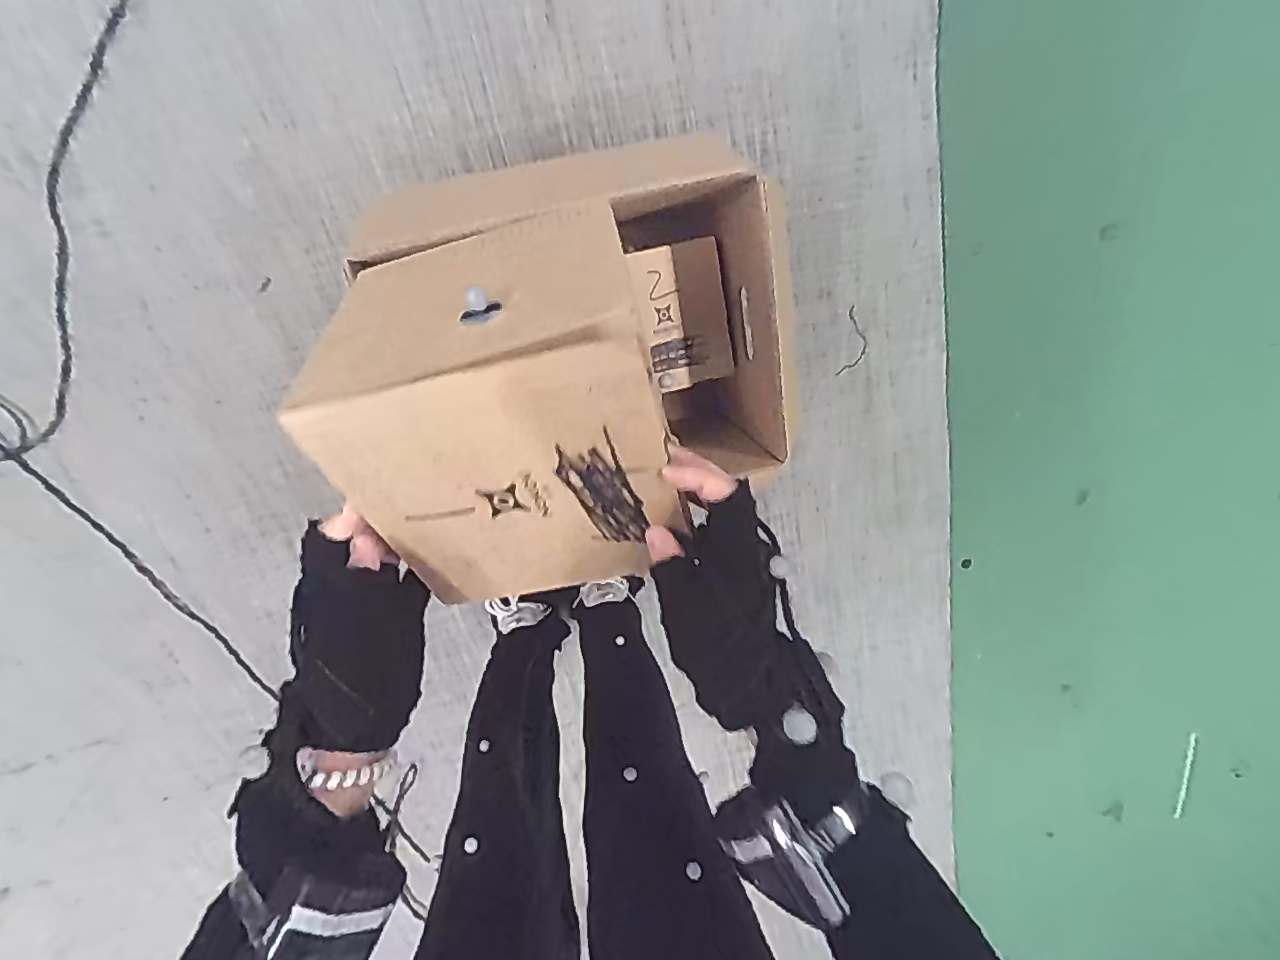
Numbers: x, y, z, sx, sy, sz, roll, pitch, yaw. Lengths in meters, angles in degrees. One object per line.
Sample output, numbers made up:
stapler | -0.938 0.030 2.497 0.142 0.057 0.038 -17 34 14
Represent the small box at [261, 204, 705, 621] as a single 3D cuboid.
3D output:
small box | -0.072 -0.042 0.334 0.179 0.176 0.168 -14 135 6
